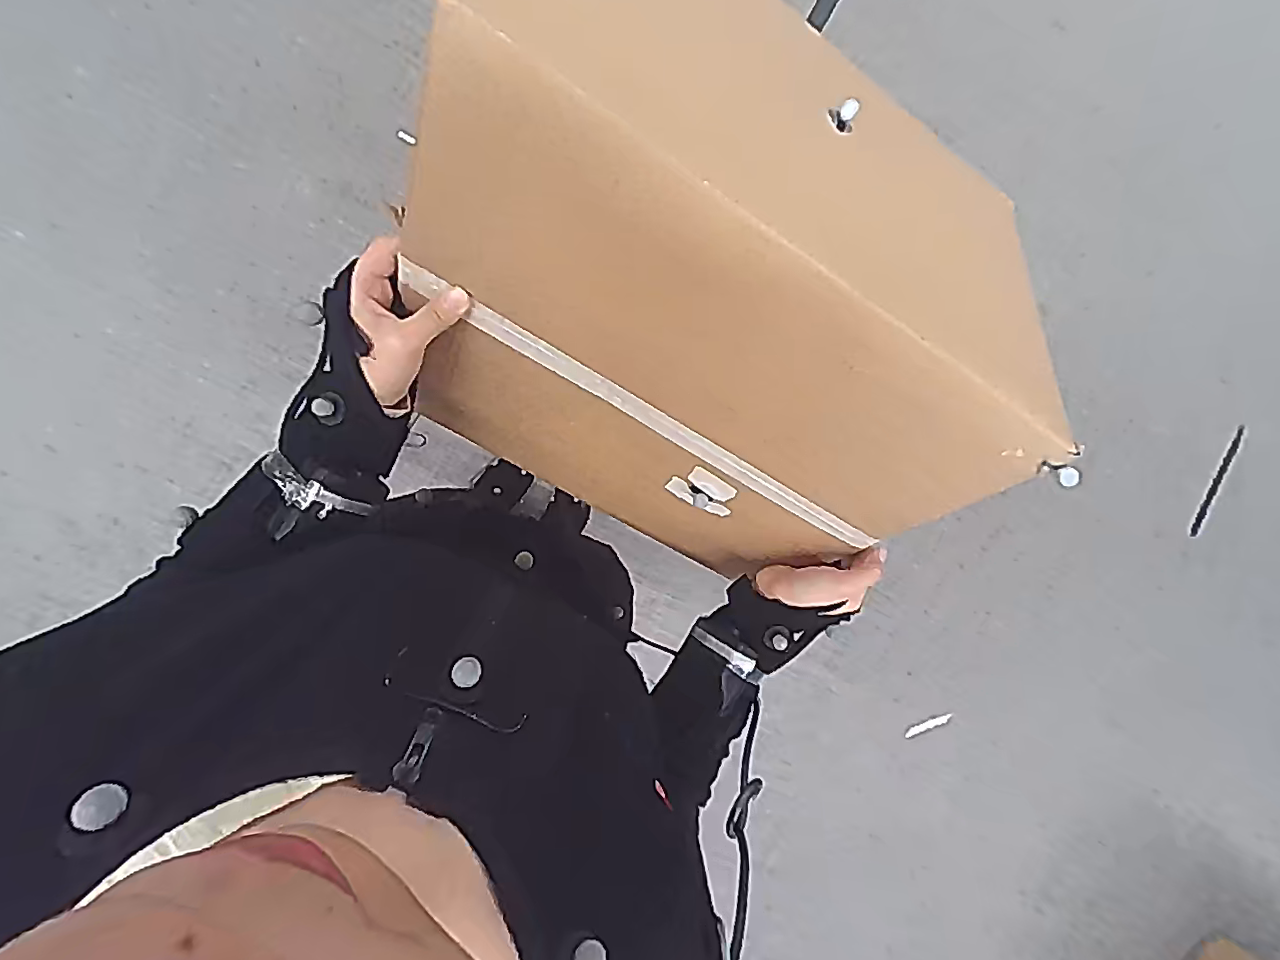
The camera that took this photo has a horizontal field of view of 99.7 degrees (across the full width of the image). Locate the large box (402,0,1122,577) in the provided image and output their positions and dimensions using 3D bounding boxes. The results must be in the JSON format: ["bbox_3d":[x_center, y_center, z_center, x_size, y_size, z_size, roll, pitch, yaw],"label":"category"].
[{"bbox_3d":[0.073,-0.173,0.461,0.408,0.320,0.320,28,56,-13],"label":"large box"}]
